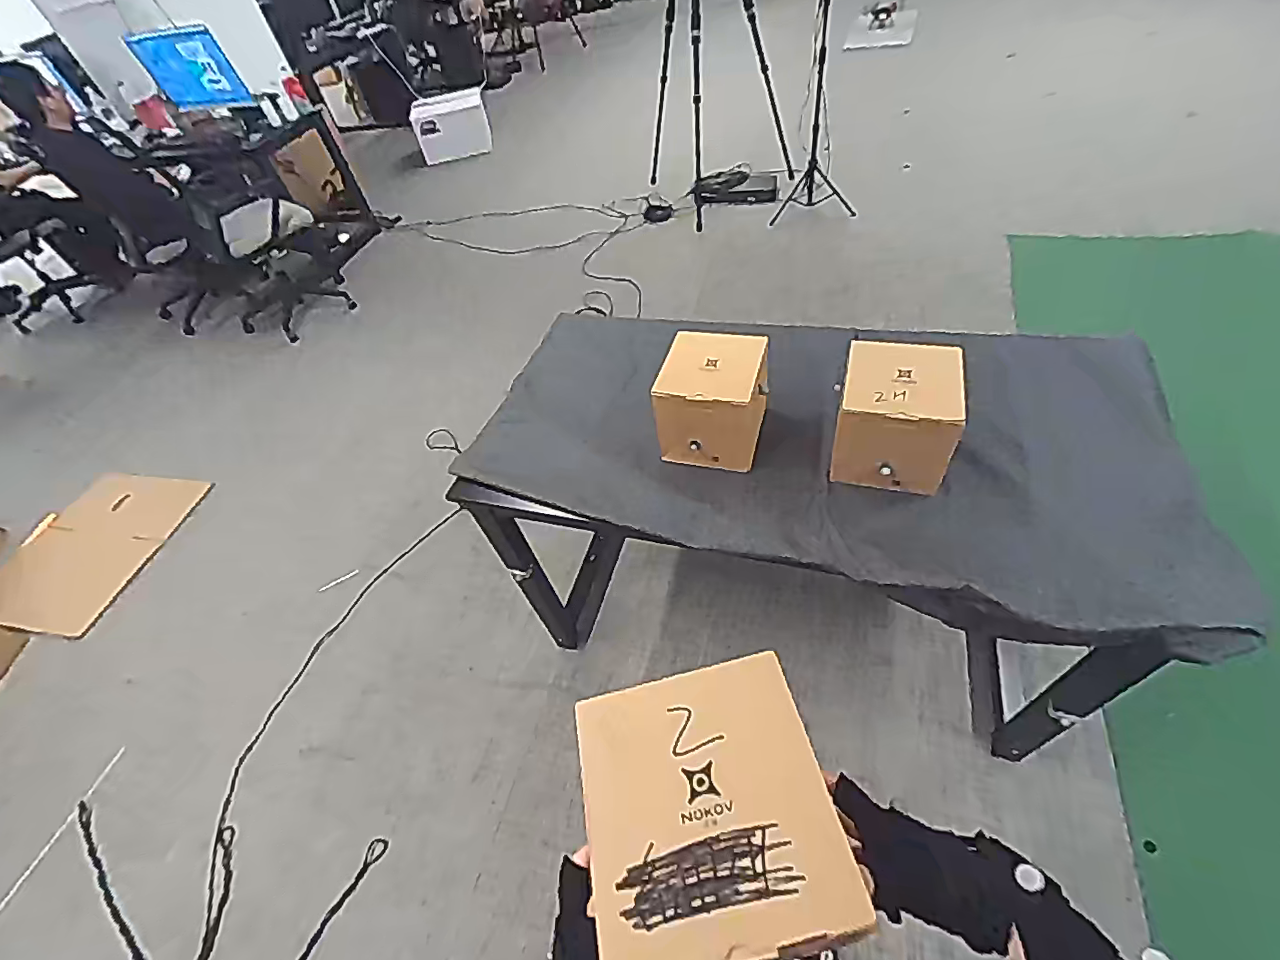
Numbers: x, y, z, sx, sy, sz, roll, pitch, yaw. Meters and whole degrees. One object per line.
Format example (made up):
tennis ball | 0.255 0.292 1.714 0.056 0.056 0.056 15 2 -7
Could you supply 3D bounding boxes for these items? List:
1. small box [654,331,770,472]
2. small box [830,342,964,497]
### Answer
small box | 0.133 -0.142 0.977 0.168 0.176 0.179 10 53 17
small box | 0.414 -0.100 0.889 0.168 0.176 0.179 10 53 18
